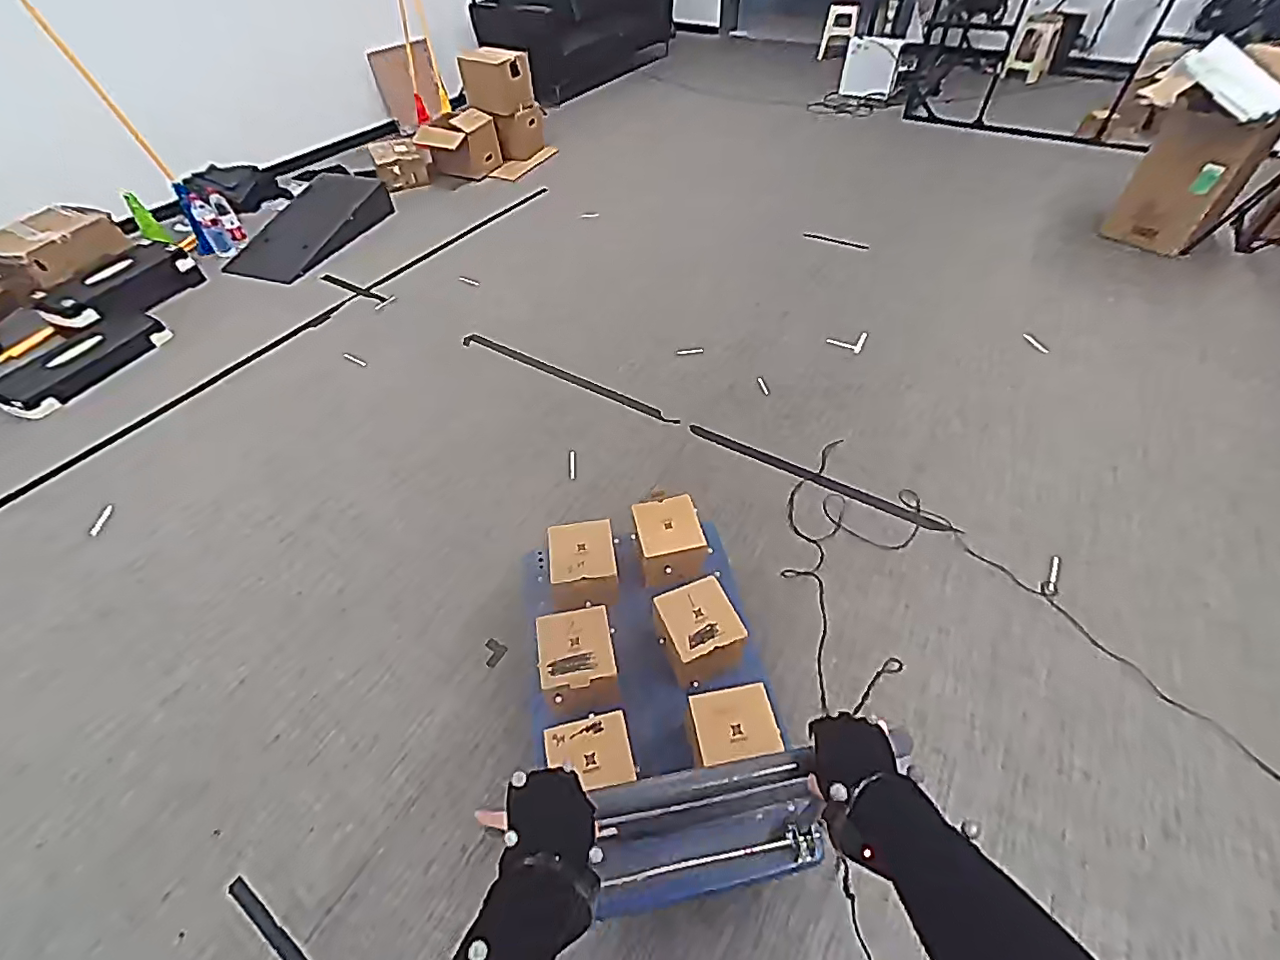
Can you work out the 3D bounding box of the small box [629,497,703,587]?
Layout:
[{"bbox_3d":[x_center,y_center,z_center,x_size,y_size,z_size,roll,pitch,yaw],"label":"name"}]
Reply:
[{"bbox_3d":[0.071,0.177,1.490,0.168,0.176,0.179,-11,49,-8],"label":"small box"}]

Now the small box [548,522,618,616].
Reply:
[{"bbox_3d":[-0.151,0.238,1.440,0.168,0.176,0.179,-7,50,-5],"label":"small box"}]

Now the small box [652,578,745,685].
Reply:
[{"bbox_3d":[0.137,0.375,1.315,0.168,0.176,0.179,-18,50,-14],"label":"small box"}]

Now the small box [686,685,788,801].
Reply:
[{"bbox_3d":[0.197,0.564,1.150,0.168,0.176,0.179,-8,48,-6],"label":"small box"}]

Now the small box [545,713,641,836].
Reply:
[{"bbox_3d":[-0.094,0.612,1.114,0.168,0.176,0.179,-11,50,-9],"label":"small box"}]
